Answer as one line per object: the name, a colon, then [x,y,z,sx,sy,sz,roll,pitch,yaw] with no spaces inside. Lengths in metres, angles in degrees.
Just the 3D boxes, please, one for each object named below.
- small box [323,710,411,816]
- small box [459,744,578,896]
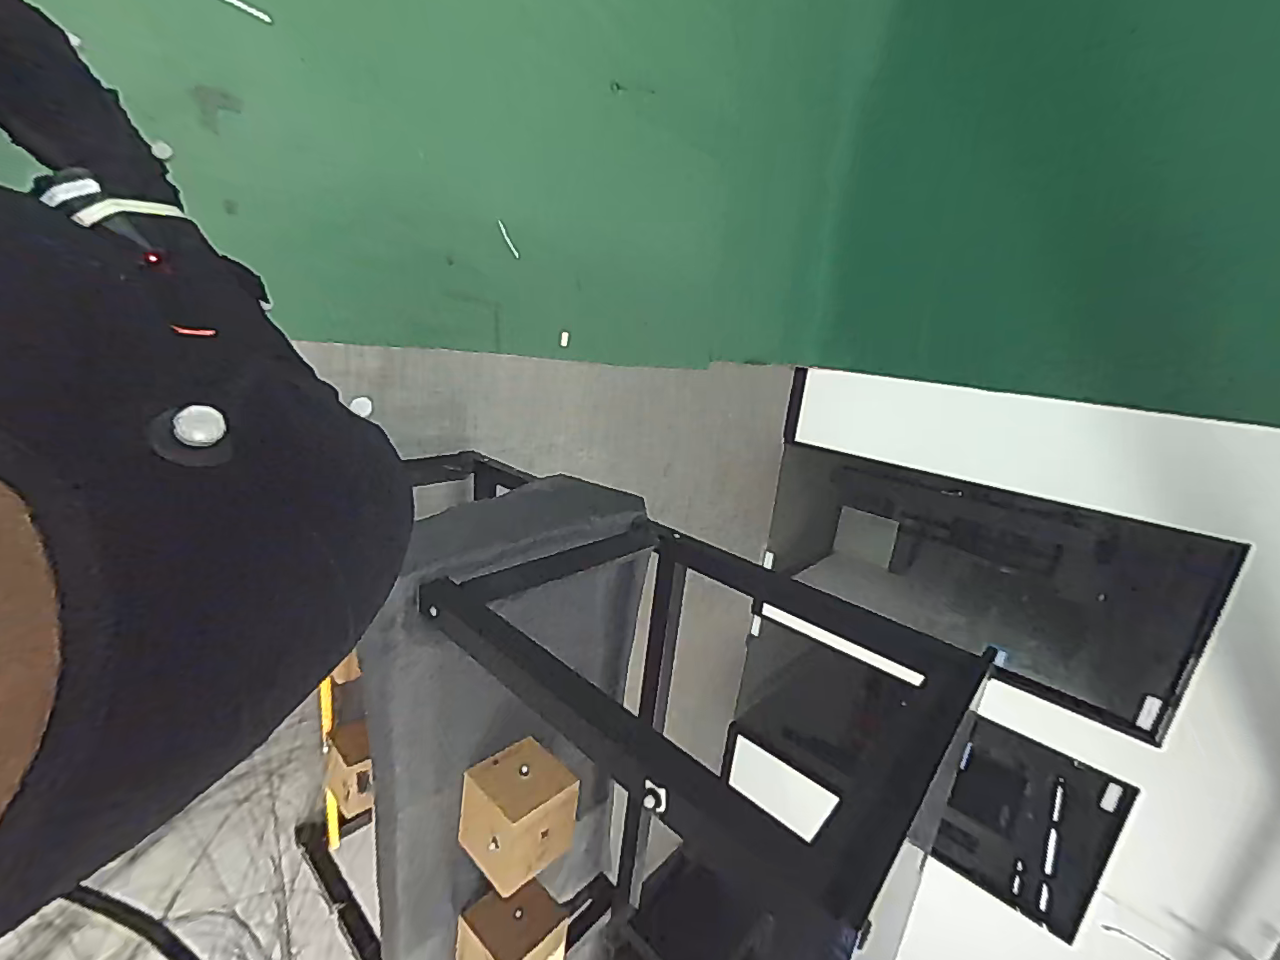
small box: [-0.775,0.789,1.528,0.179,0.176,0.168,-6,110,-49]
small box: [-0.250,0.672,1.101,0.168,0.176,0.179,-7,110,-49]
